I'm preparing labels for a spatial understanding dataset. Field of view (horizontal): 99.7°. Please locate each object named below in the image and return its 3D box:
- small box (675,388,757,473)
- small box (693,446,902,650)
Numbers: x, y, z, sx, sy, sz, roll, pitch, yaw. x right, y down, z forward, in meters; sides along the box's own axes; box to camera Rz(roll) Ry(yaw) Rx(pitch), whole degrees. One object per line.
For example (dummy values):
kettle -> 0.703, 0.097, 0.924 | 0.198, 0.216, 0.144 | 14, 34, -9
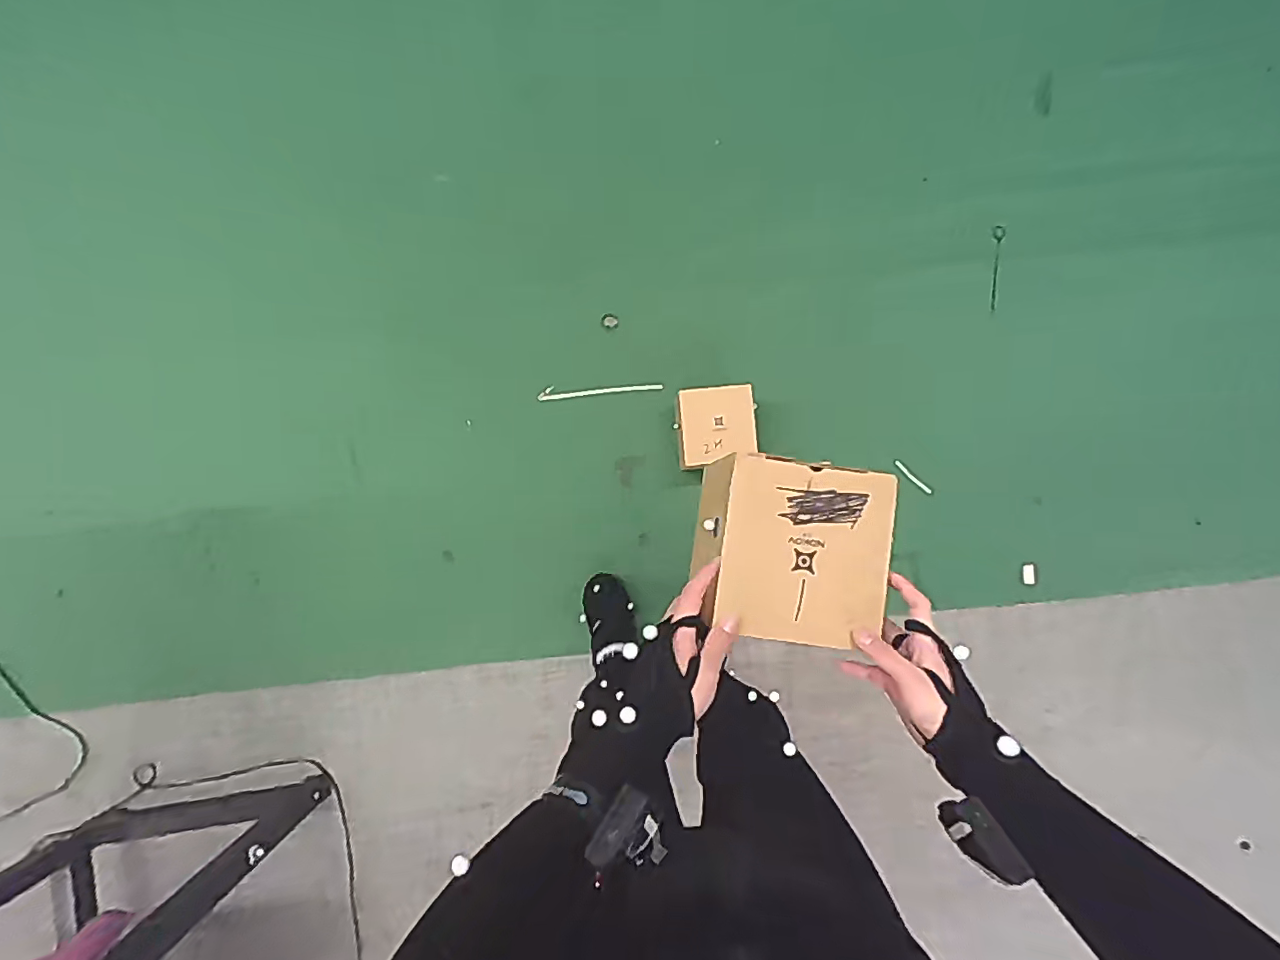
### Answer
small box -> 0.176, -0.113, 1.292 | 0.168, 0.176, 0.179 | -4, 88, 0
small box -> 0.160, 0.071, 0.600 | 0.168, 0.176, 0.179 | 9, 86, -2
